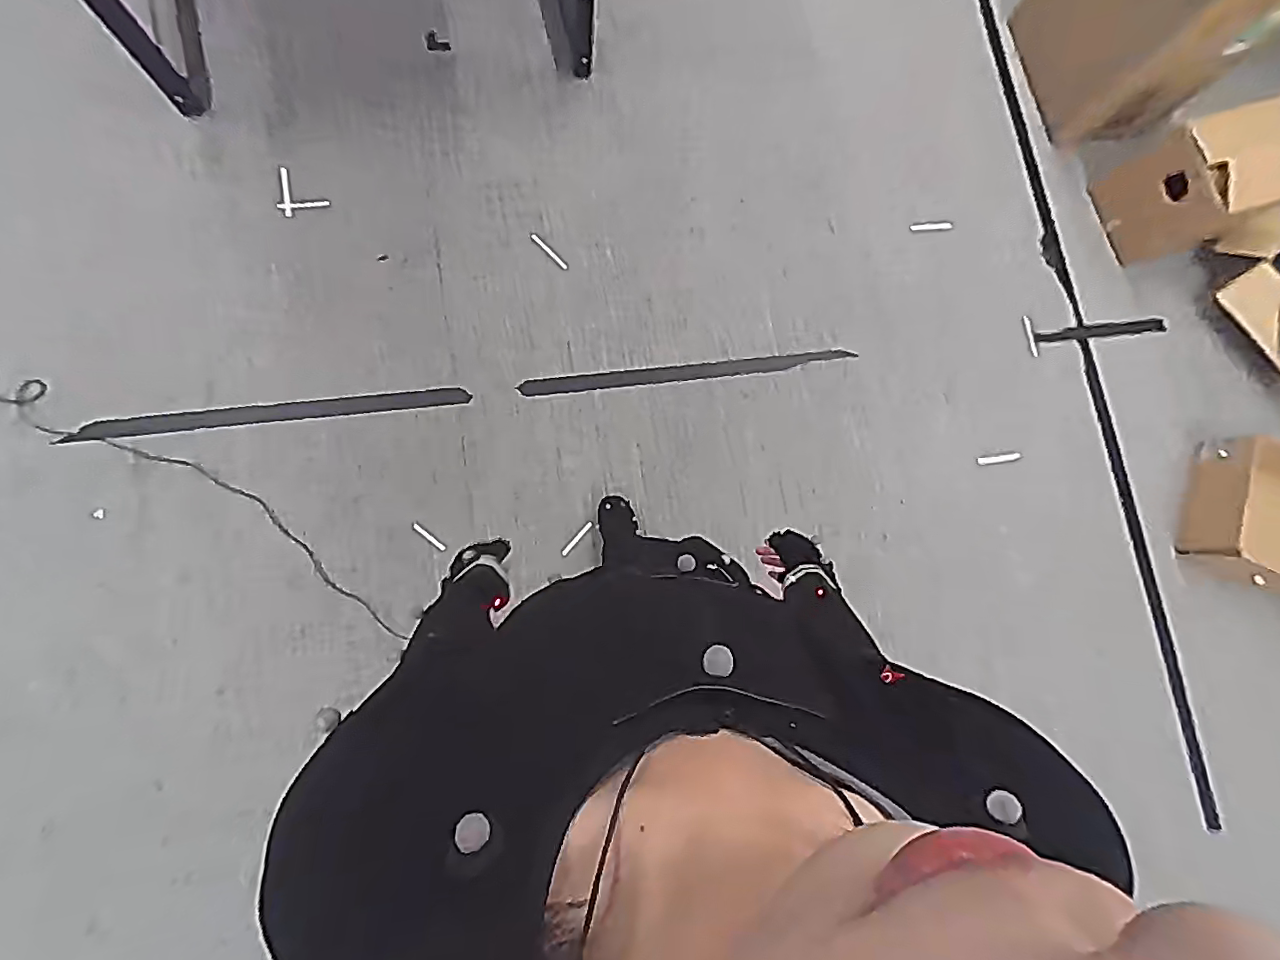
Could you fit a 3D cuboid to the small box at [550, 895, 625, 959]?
[{"bbox_3d":[-0.120,1.152,1.295,0.168,0.176,0.179,-9,82,-9],"label":"small box"}]
